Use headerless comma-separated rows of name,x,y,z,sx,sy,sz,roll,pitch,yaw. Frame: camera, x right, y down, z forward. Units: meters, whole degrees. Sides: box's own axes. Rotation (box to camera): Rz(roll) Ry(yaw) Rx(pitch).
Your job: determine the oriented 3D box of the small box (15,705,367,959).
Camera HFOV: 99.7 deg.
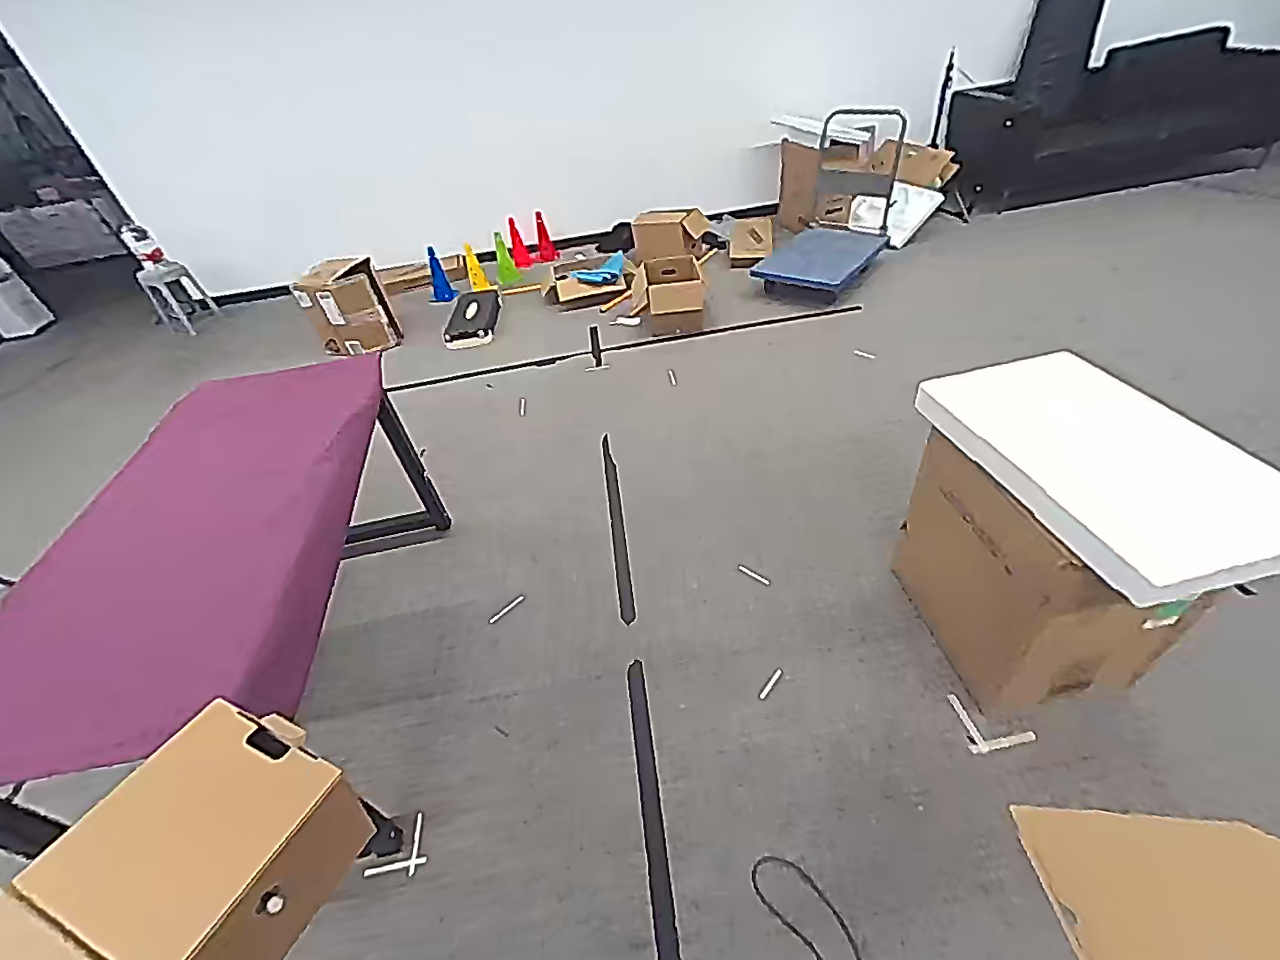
small box,-0.397,0.364,0.519,0.168,0.176,0.179,21,41,13
